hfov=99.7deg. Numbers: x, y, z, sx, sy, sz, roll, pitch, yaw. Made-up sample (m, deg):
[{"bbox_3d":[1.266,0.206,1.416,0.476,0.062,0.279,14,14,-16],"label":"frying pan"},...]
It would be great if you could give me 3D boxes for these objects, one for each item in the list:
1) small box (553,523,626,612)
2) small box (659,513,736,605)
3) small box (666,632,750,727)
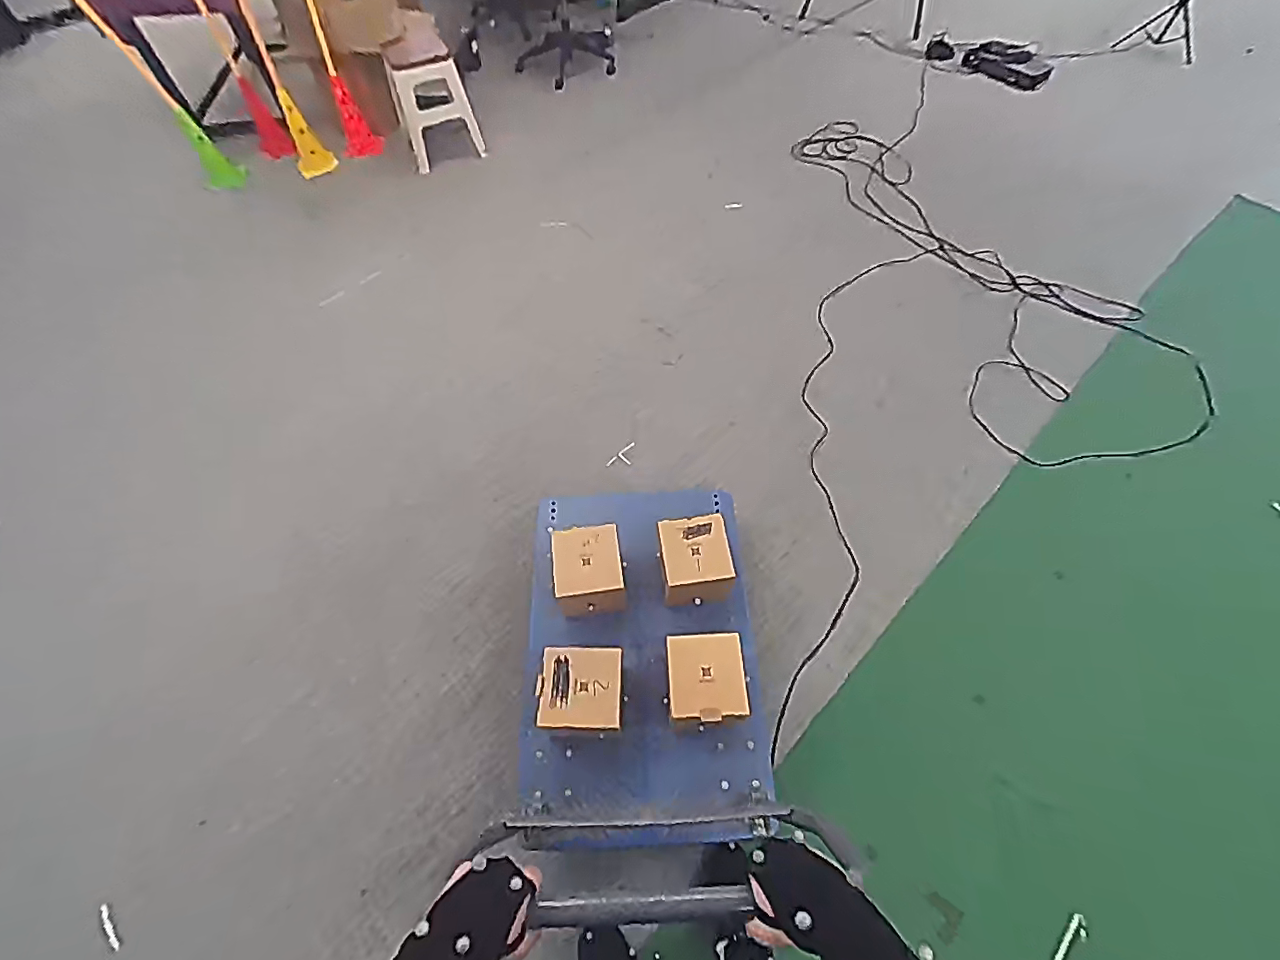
[{"bbox_3d":[-0.127,0.231,1.384,0.168,0.176,0.179,-7,59,-4],"label":"small box"},{"bbox_3d":[0.141,0.207,1.394,0.168,0.176,0.179,-7,60,-2],"label":"small box"},{"bbox_3d":[0.149,0.462,1.243,0.168,0.176,0.179,-2,60,0],"label":"small box"}]
